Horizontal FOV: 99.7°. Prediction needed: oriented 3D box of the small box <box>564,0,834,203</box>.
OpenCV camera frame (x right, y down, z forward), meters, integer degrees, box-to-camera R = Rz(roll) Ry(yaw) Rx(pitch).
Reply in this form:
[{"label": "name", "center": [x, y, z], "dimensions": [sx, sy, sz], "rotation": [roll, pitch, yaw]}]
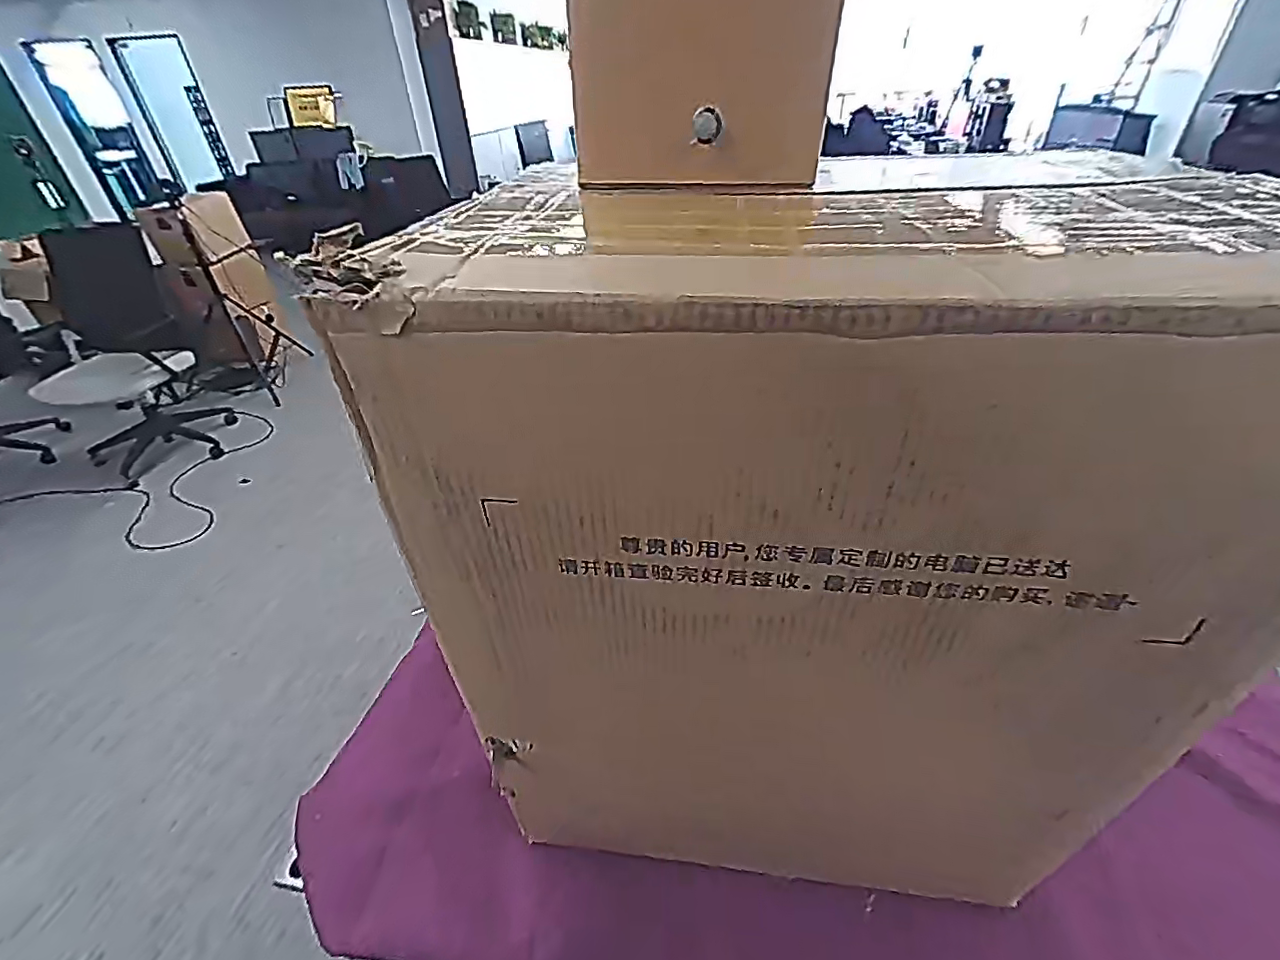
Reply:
[{"label": "small box", "center": [0.044, -0.321, 0.418], "dimensions": [0.179, 0.176, 0.168], "rotation": [4, 37, 8]}]
